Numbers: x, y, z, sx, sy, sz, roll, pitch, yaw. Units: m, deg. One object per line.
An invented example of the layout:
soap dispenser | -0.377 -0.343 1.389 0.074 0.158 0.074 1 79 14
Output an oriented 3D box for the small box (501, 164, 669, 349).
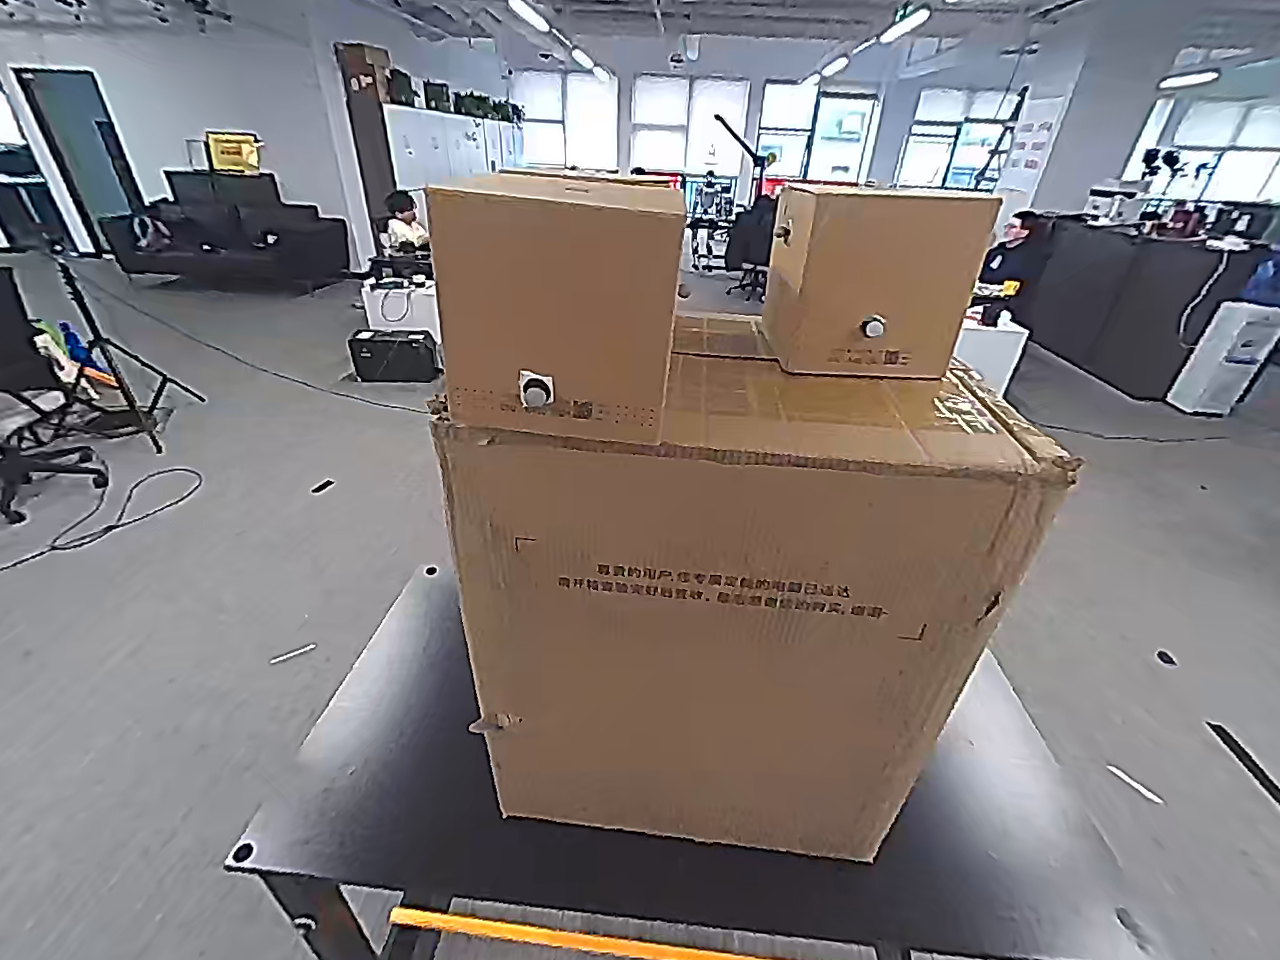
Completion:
small box | -0.055 -0.262 0.629 0.168 0.176 0.179 4 30 1

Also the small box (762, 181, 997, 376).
small box | 0.234 -0.223 0.587 0.168 0.176 0.179 2 30 1
